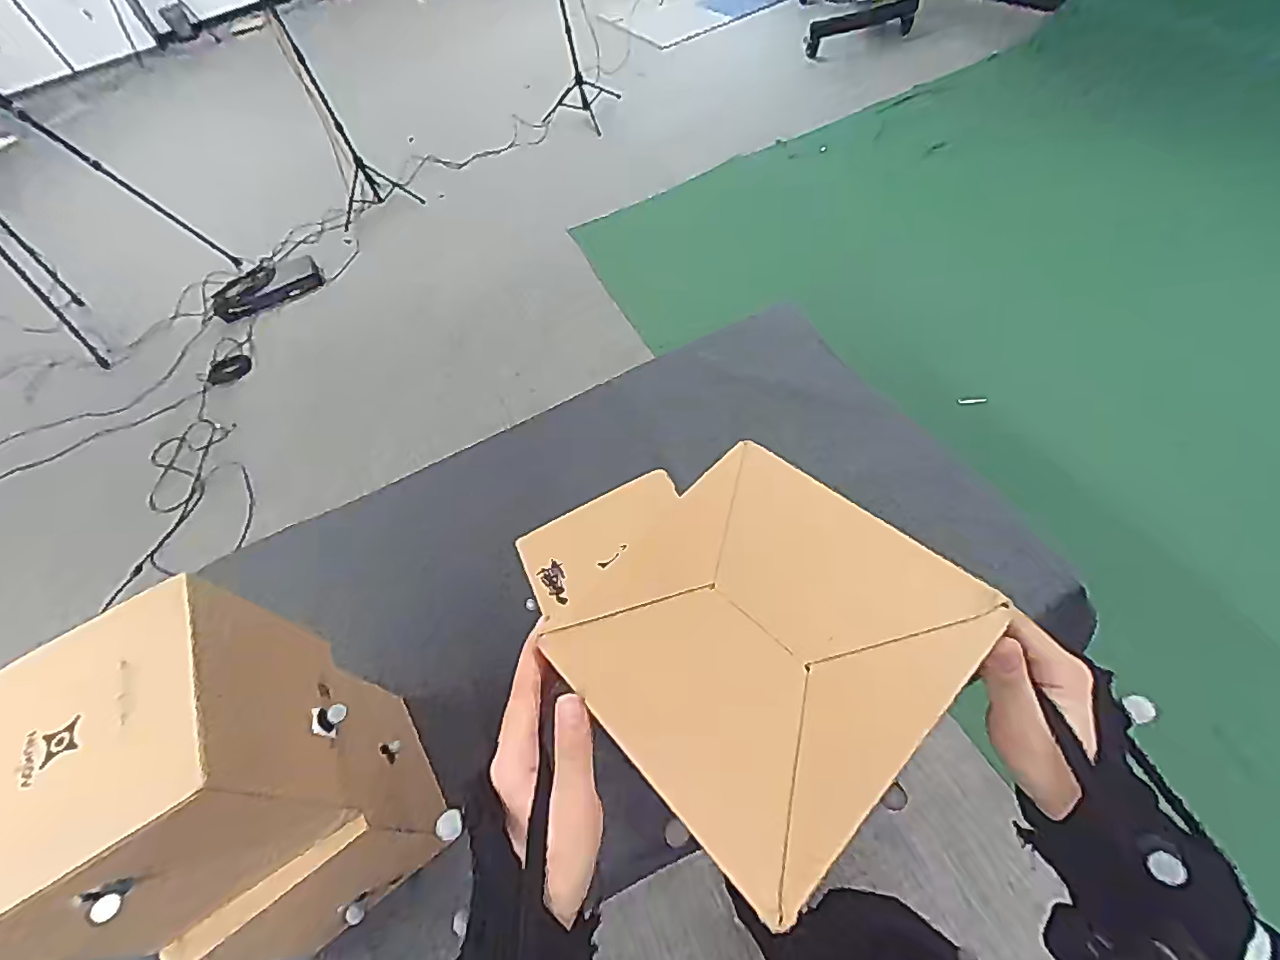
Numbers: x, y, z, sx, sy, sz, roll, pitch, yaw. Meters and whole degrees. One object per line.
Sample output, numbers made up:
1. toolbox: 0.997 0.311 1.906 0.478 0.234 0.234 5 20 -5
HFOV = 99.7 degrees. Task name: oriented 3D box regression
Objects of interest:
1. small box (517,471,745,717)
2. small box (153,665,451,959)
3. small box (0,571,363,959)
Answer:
1. small box: -0.005 0.127 0.582 0.179 0.176 0.168 -26 55 -8
2. small box: -0.314 0.309 0.515 0.168 0.176 0.179 -35 57 -13
3. small box: -0.343 0.205 0.393 0.179 0.176 0.168 -31 57 -12
